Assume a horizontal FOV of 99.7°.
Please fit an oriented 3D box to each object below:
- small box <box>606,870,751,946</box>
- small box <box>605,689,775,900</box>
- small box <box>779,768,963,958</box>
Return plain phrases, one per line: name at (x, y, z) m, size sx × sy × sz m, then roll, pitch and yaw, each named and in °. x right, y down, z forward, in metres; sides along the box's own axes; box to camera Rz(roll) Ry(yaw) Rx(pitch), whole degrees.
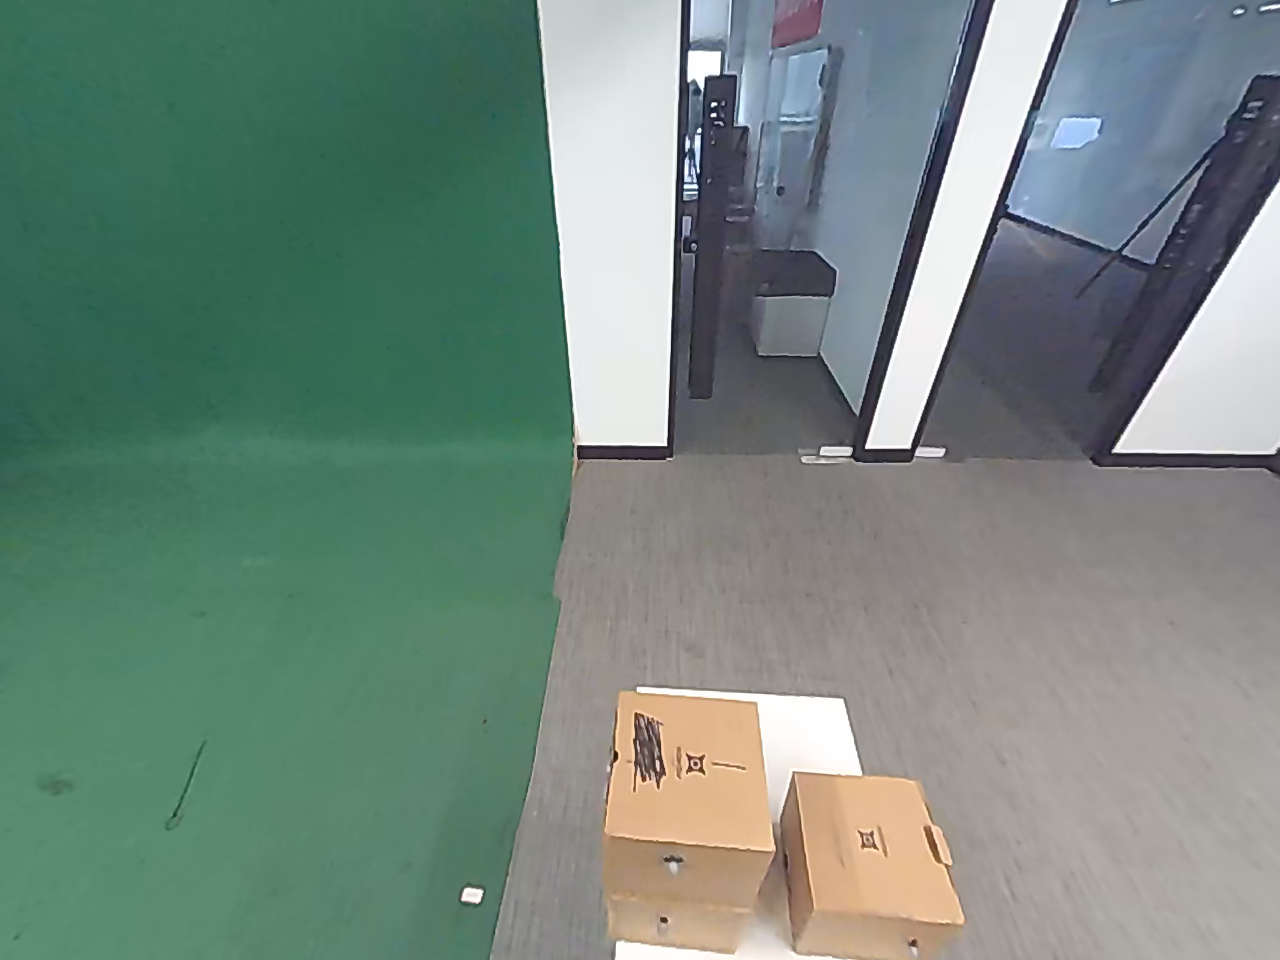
small box at (0.052, 0.514, 0.749) m, size 0.179 × 0.176 × 0.168 m, roll 3°, pitch 37°, yaw 3°
small box at (0.054, 0.379, 0.655) m, size 0.179 × 0.176 × 0.168 m, roll 4°, pitch 37°, yaw 2°
small box at (0.298, 0.524, 0.741) m, size 0.179 × 0.176 × 0.168 m, roll 1°, pitch 36°, yaw 5°
